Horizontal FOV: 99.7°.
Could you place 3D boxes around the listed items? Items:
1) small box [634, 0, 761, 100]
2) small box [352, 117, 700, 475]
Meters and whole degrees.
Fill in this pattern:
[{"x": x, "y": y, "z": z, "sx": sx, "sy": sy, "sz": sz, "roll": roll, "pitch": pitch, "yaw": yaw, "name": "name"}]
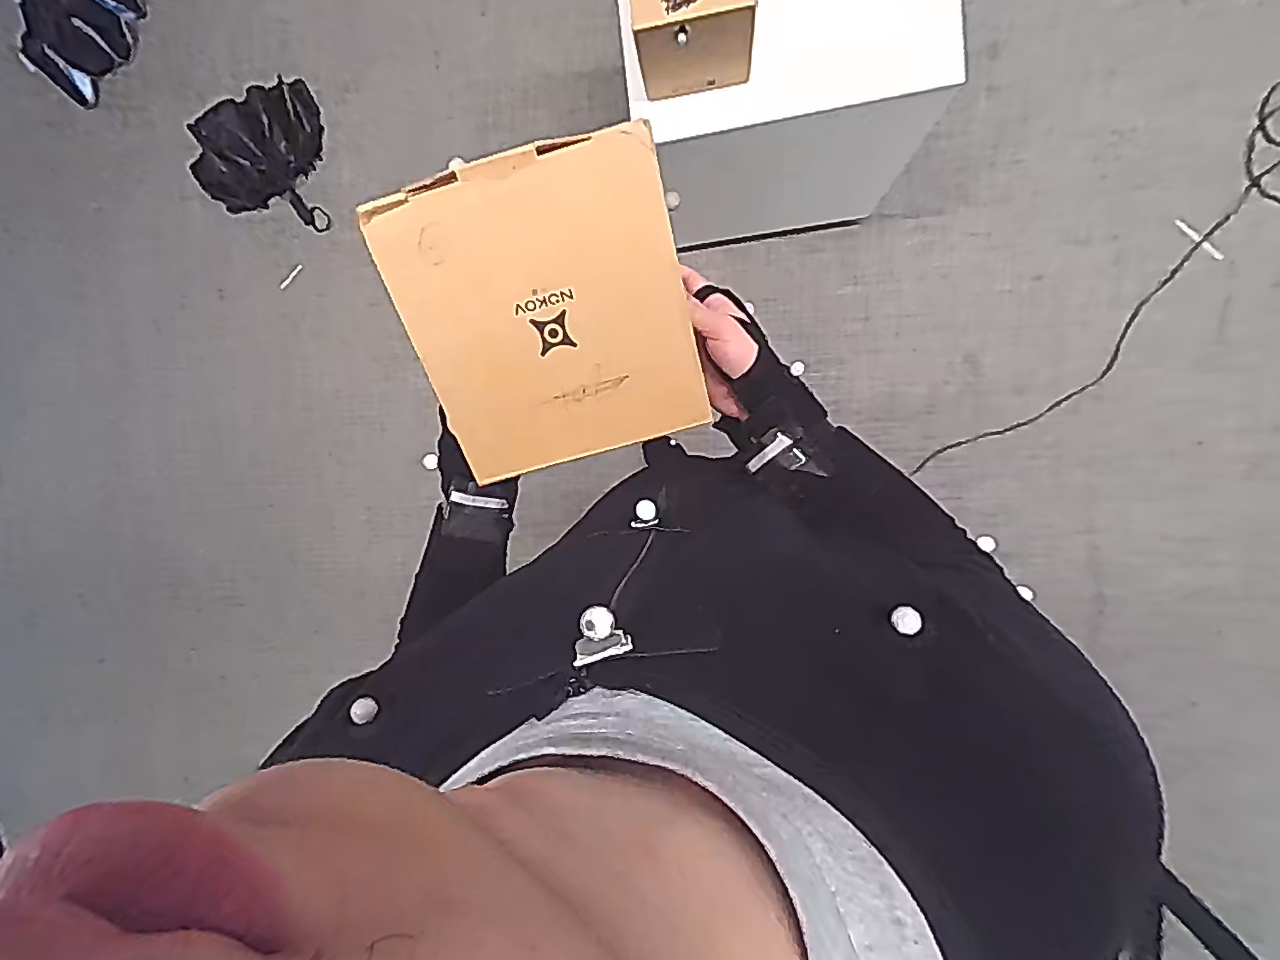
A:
[{"x": 0.079, "y": -0.696, "z": 0.775, "sx": 0.168, "sy": 0.176, "sz": 0.179, "roll": -4, "pitch": 95, "yaw": 9, "name": "small box"}, {"x": -0.063, "y": -0.132, "z": 0.394, "sx": 0.168, "sy": 0.176, "sz": 0.179, "roll": -14, "pitch": 118, "yaw": 5, "name": "small box"}]
